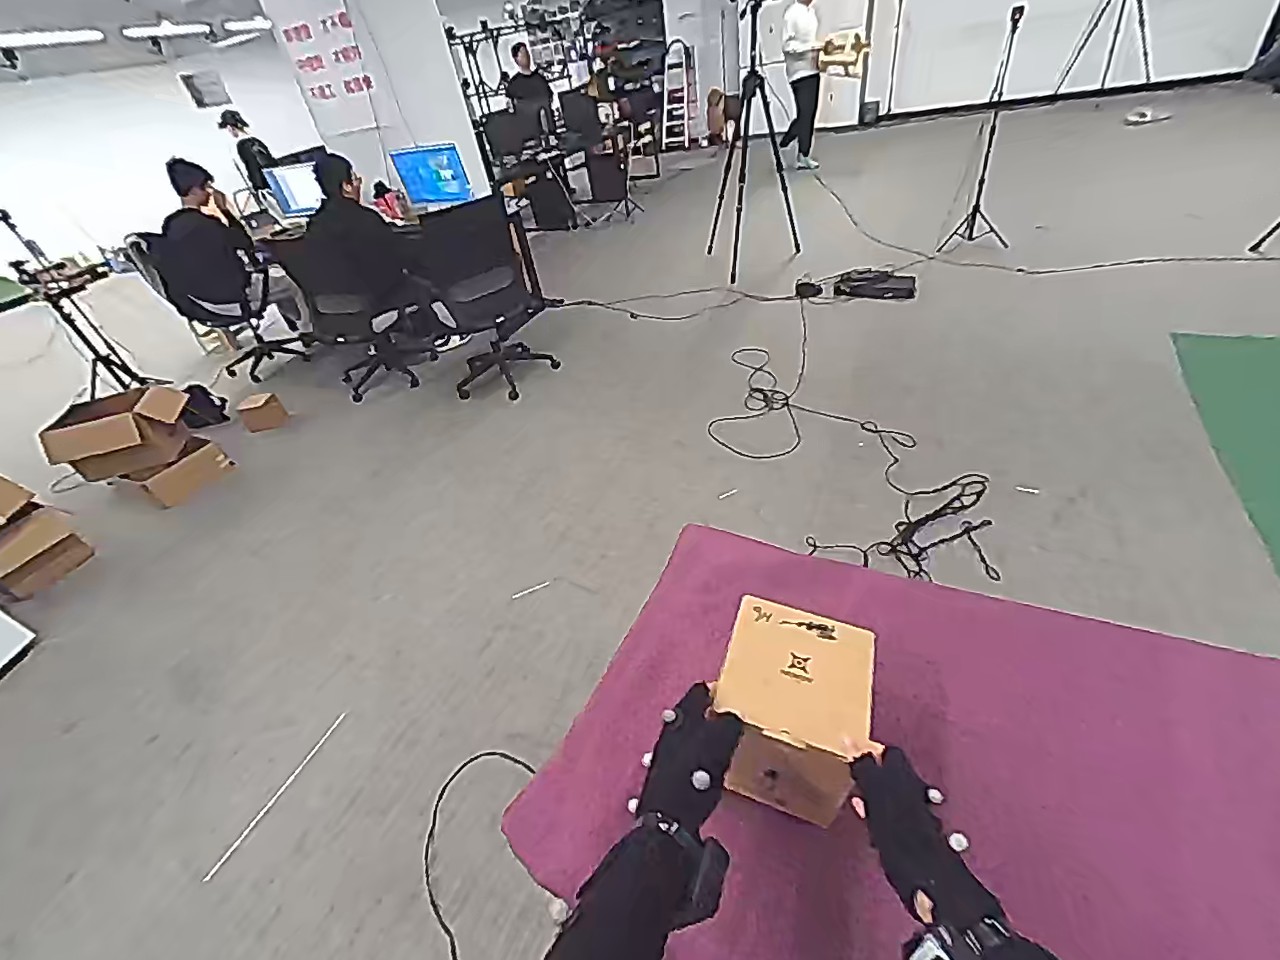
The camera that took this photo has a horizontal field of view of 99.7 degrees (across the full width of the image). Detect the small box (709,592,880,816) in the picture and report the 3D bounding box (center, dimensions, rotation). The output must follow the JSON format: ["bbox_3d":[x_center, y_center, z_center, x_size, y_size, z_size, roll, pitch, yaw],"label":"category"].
[{"bbox_3d":[0.187,0.278,0.674,0.168,0.176,0.179,14,42,16],"label":"small box"}]
